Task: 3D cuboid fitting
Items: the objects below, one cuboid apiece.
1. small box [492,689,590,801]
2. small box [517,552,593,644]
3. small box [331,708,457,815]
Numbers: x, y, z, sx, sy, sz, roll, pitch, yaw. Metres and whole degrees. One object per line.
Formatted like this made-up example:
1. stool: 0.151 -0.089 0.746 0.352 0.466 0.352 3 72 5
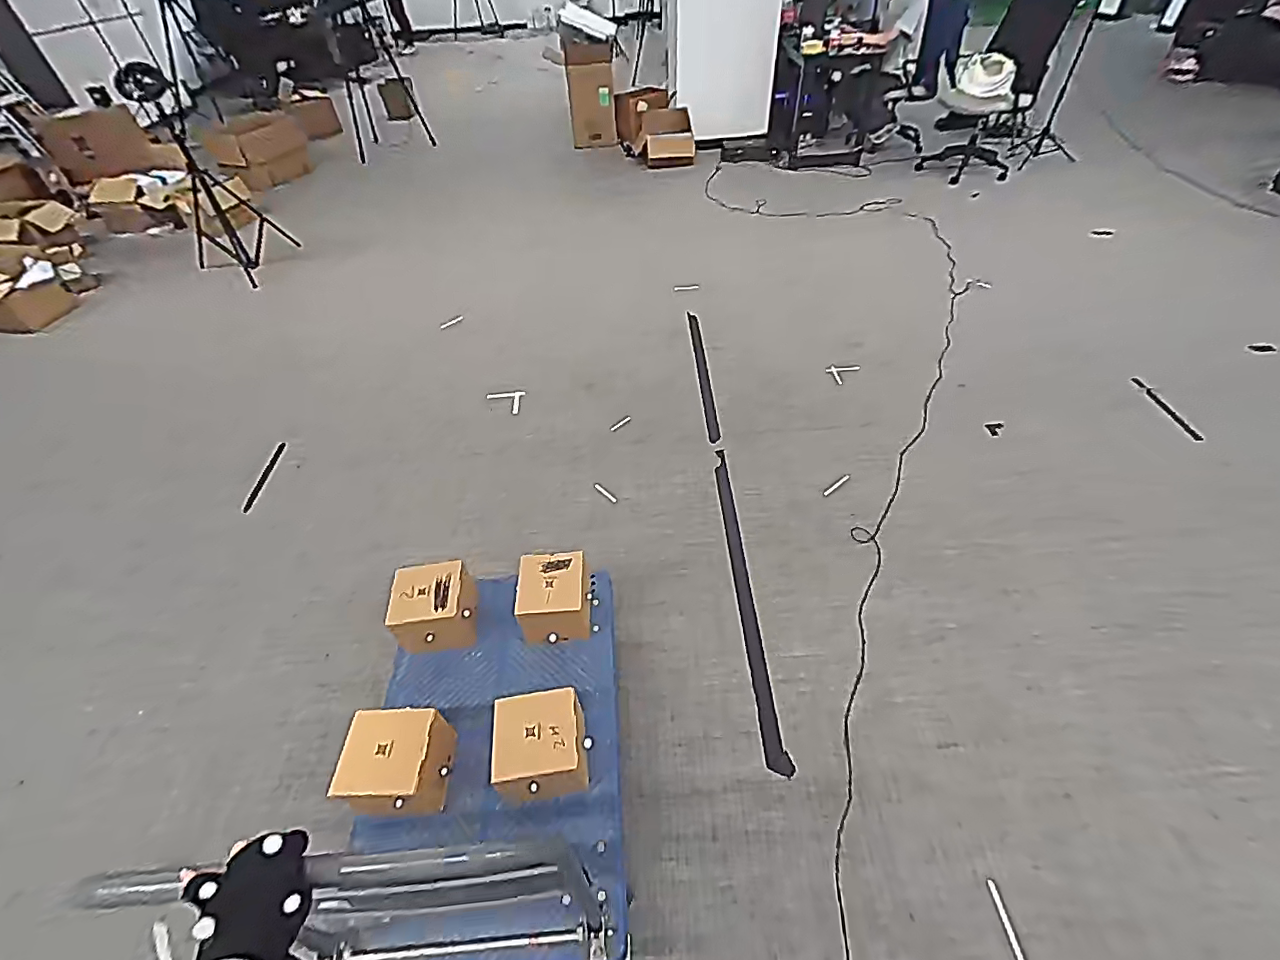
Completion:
1. small box: -0.209 0.577 1.172 0.179 0.176 0.168 -8 47 -3
2. small box: -0.217 0.312 1.422 0.168 0.176 0.179 -4 48 1
3. small box: -0.516 0.609 1.165 0.179 0.176 0.168 -2 46 0
